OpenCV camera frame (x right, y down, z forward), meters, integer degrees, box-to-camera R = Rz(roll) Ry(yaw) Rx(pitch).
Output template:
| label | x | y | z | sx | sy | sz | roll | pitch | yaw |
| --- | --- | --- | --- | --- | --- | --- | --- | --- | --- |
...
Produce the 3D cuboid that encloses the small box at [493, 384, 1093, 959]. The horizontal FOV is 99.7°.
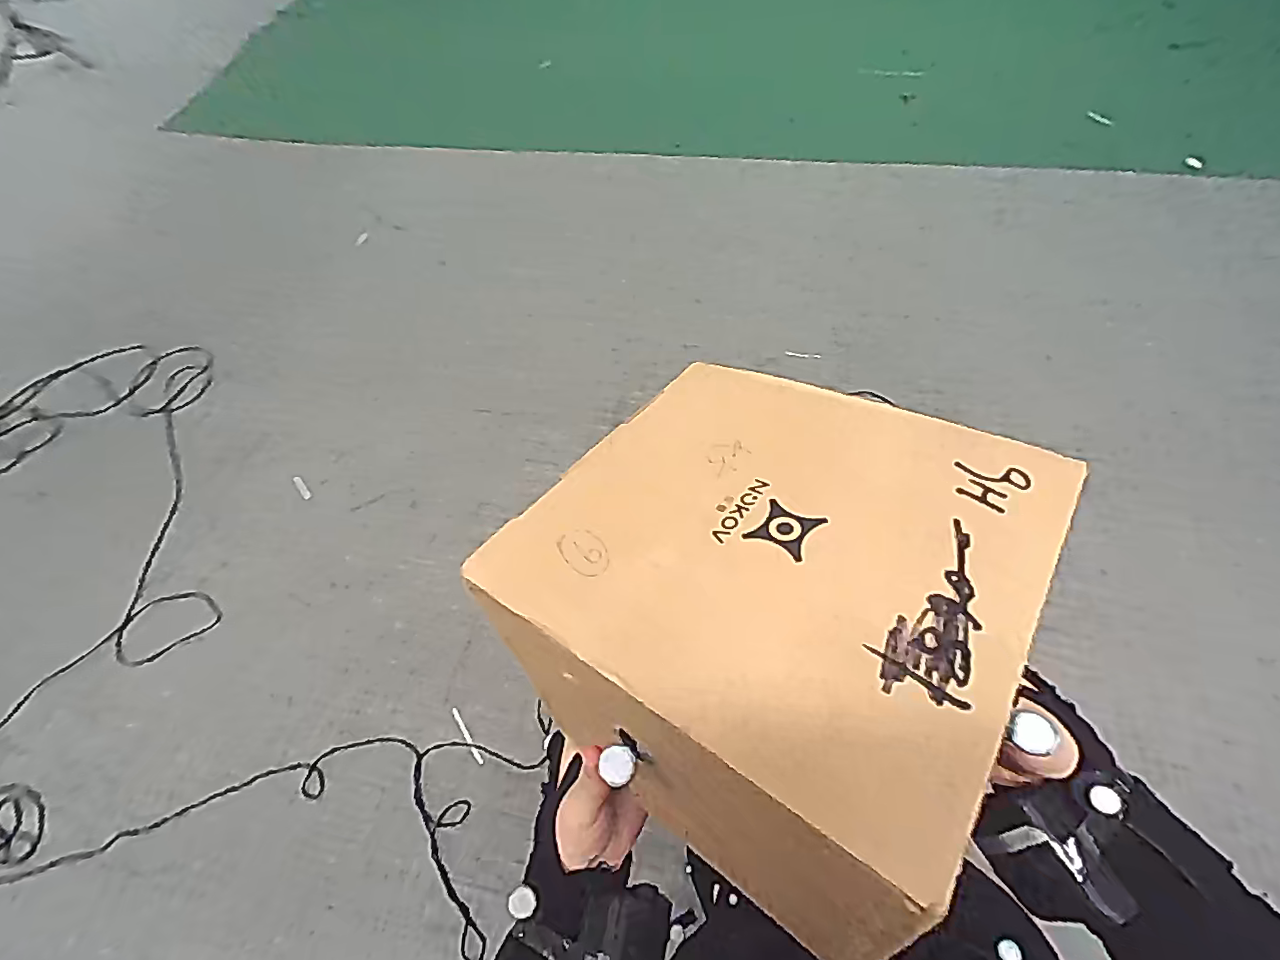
| label | x | y | z | sx | sy | sz | roll | pitch | yaw |
| --- | --- | --- | --- | --- | --- | --- | --- | --- | --- |
| small box | 0.068 | 0.082 | 0.262 | 0.179 | 0.176 | 0.168 | 23 | 54 | 33 |
